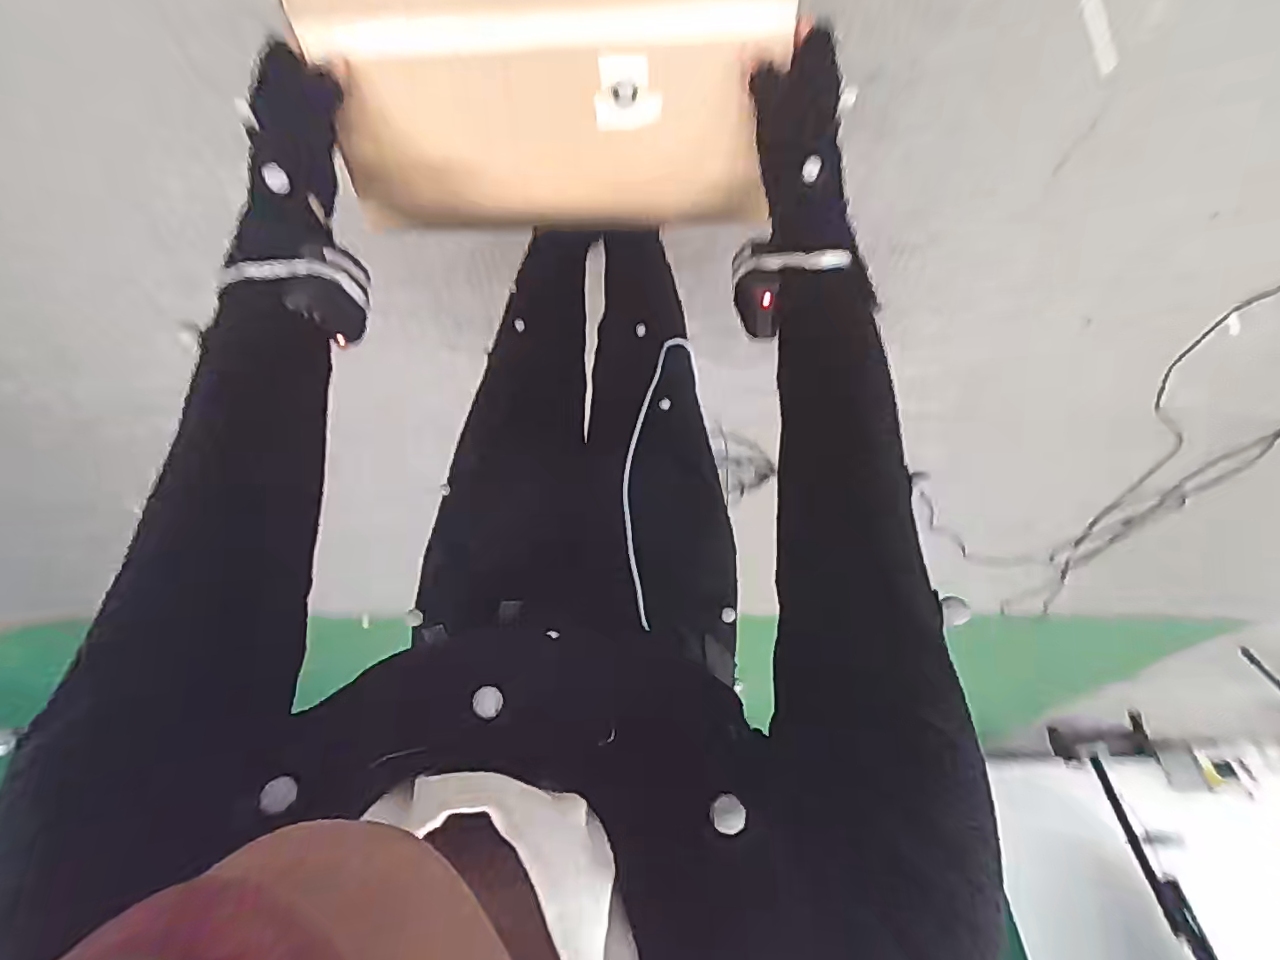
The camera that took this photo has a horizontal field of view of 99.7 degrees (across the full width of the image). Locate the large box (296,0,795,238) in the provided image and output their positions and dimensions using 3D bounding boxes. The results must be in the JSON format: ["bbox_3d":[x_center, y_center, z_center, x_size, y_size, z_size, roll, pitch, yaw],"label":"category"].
[{"bbox_3d":[-0.074,-0.465,0.550,0.408,0.320,0.320,-1,134,2],"label":"large box"}]
